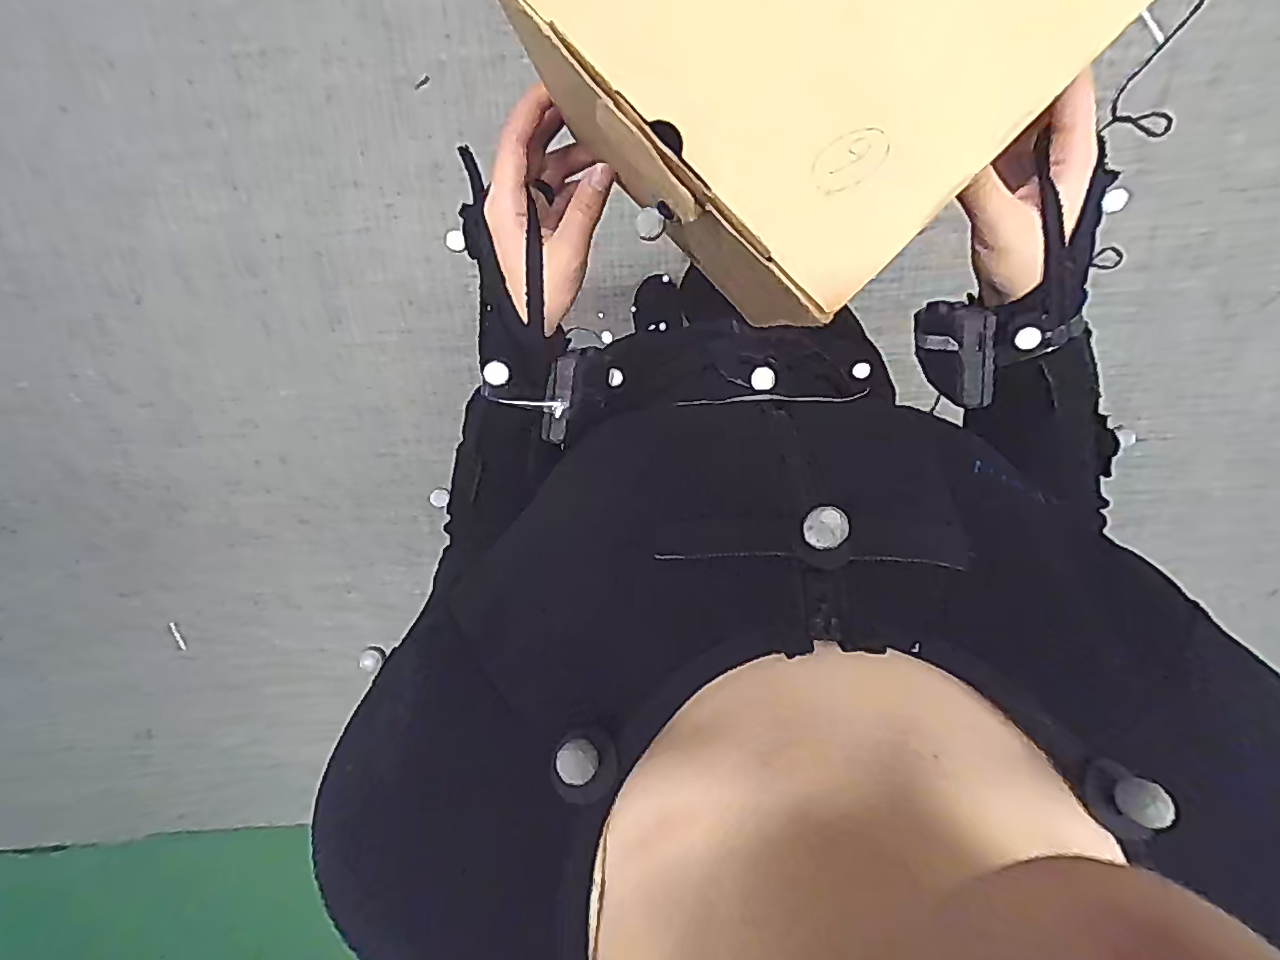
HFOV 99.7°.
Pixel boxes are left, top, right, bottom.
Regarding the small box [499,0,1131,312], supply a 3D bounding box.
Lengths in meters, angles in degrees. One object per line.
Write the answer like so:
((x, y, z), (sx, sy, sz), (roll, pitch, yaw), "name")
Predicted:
((0.072, -0.196, 0.252), (0.168, 0.176, 0.179), (43, 104, -8), "small box")
